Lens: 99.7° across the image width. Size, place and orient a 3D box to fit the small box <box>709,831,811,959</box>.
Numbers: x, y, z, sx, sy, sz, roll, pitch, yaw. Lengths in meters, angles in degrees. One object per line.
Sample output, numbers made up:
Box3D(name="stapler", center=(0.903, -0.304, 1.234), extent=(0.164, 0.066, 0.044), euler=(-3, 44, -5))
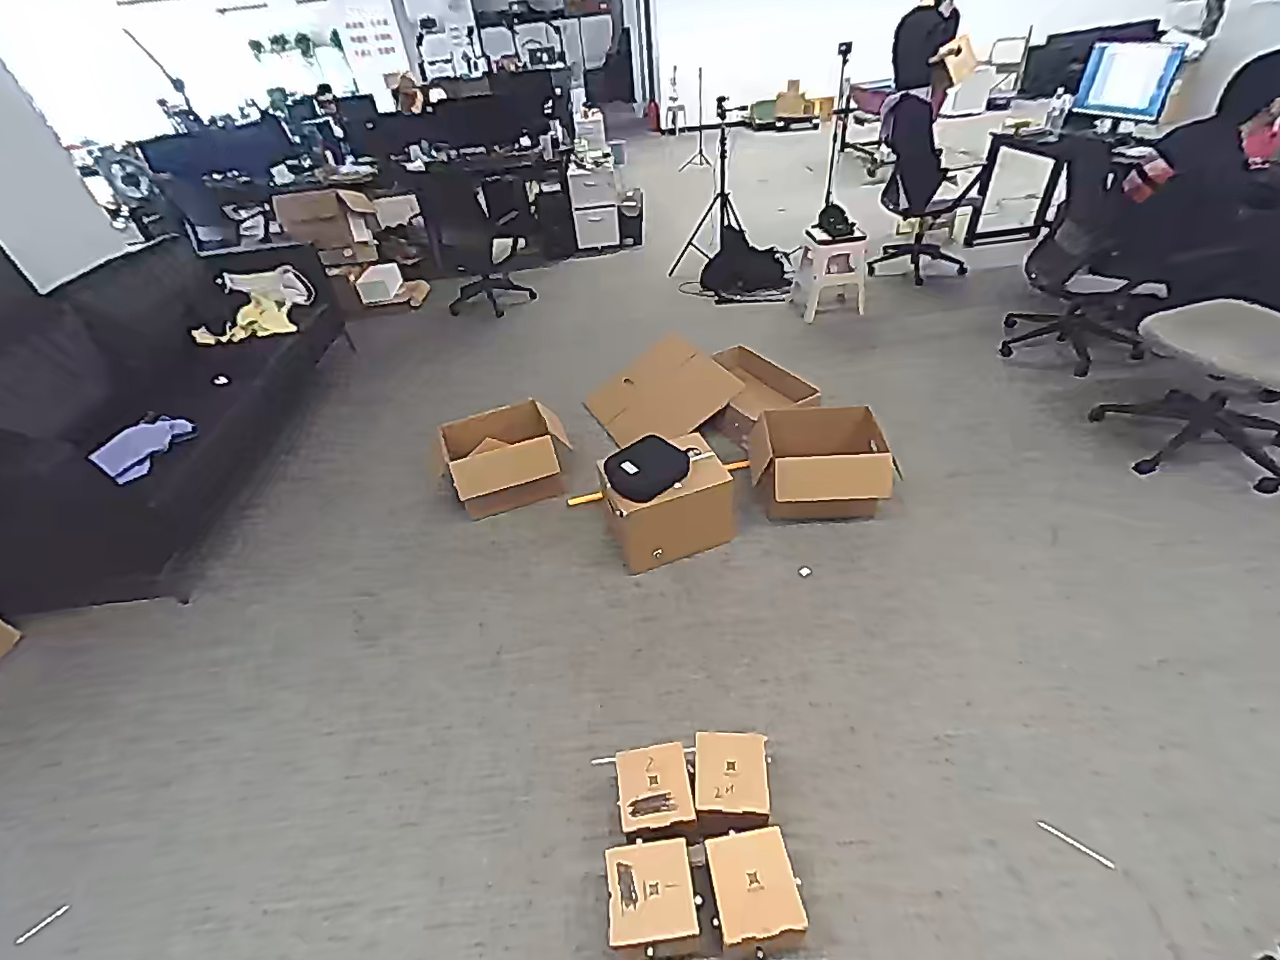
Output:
Box3D(name="small box", center=(0.242, 0.875, 1.135), extent=(0.168, 0.176, 0.179), euler=(-10, 40, -2))
